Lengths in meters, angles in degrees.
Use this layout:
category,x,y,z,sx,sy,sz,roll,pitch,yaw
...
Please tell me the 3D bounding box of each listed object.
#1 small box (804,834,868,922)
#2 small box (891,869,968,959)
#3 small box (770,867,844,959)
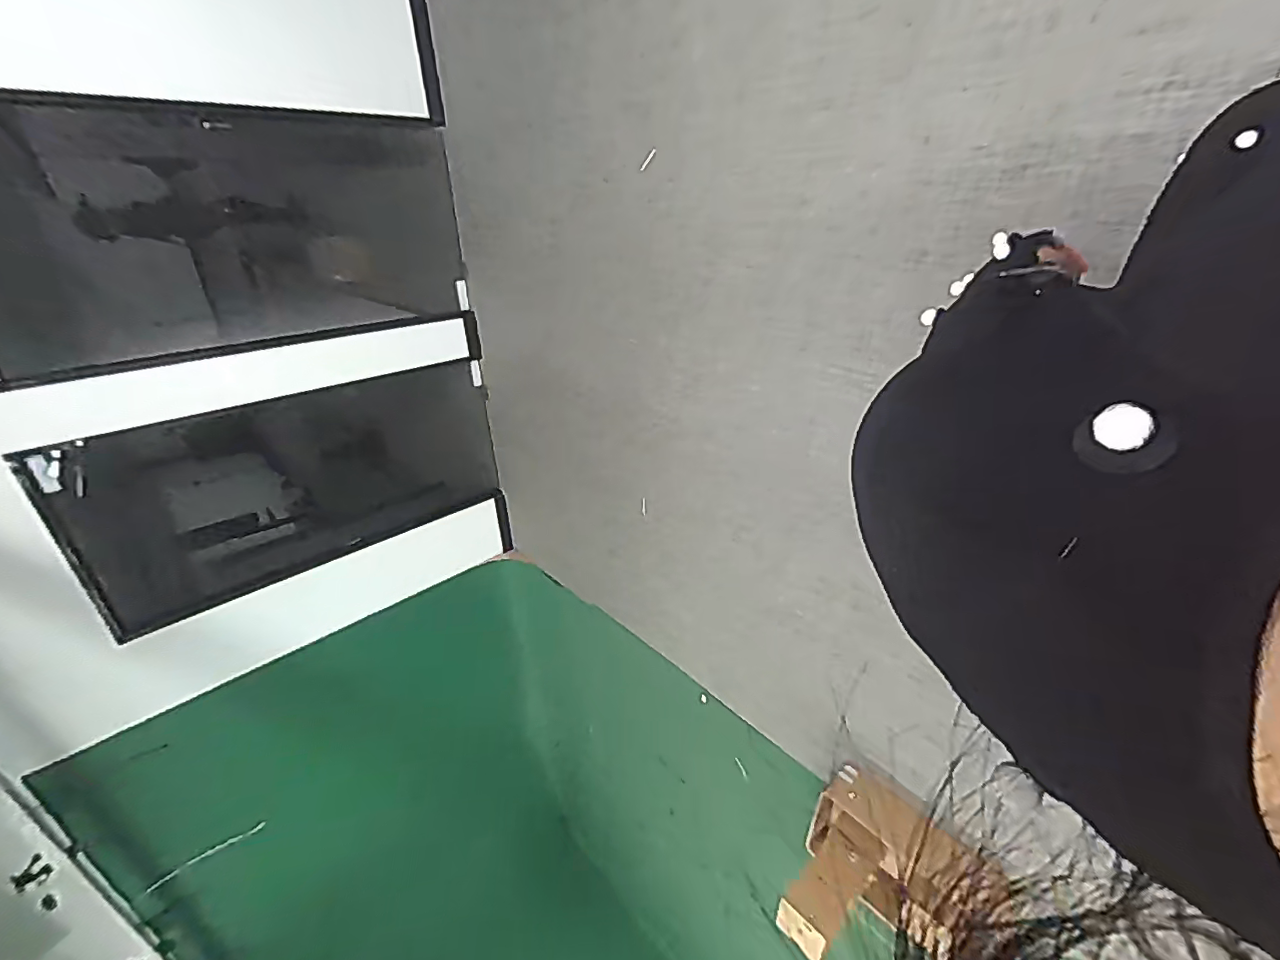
category,x,y,z,sx,sy,sz,roll,pitch,yaw
small box,0.681,1.416,1.915,0.168,0.176,0.179,29,127,38
small box,0.989,1.497,1.846,0.168,0.176,0.179,25,125,44
small box,0.560,1.465,1.814,0.168,0.176,0.179,26,127,40
